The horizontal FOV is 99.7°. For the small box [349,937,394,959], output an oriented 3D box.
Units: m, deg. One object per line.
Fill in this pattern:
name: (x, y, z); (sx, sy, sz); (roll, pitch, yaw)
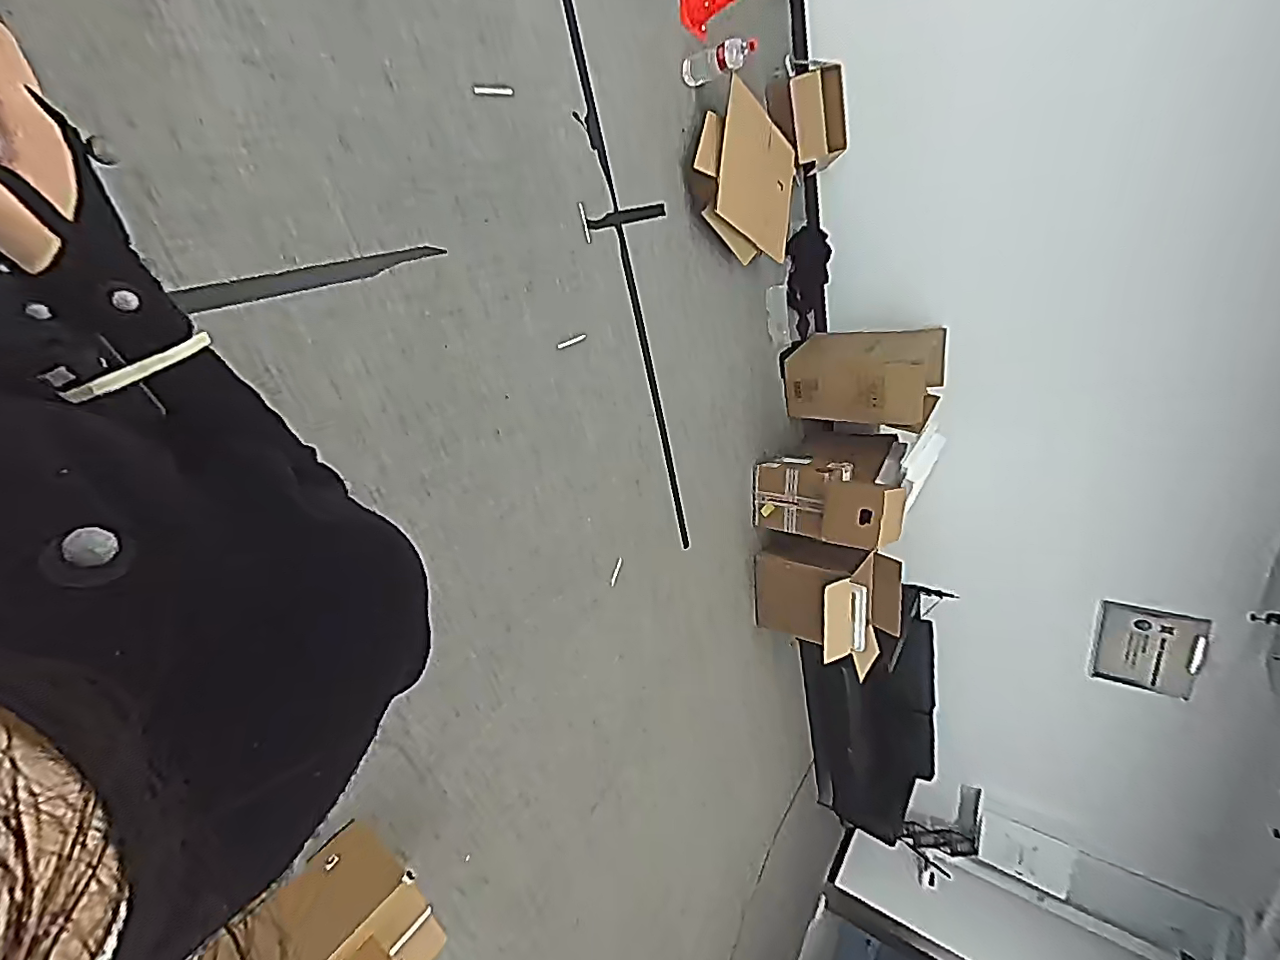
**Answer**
small box: (-0.639, 1.243, 1.271); (0.179, 0.176, 0.168); (-38, 123, -41)
